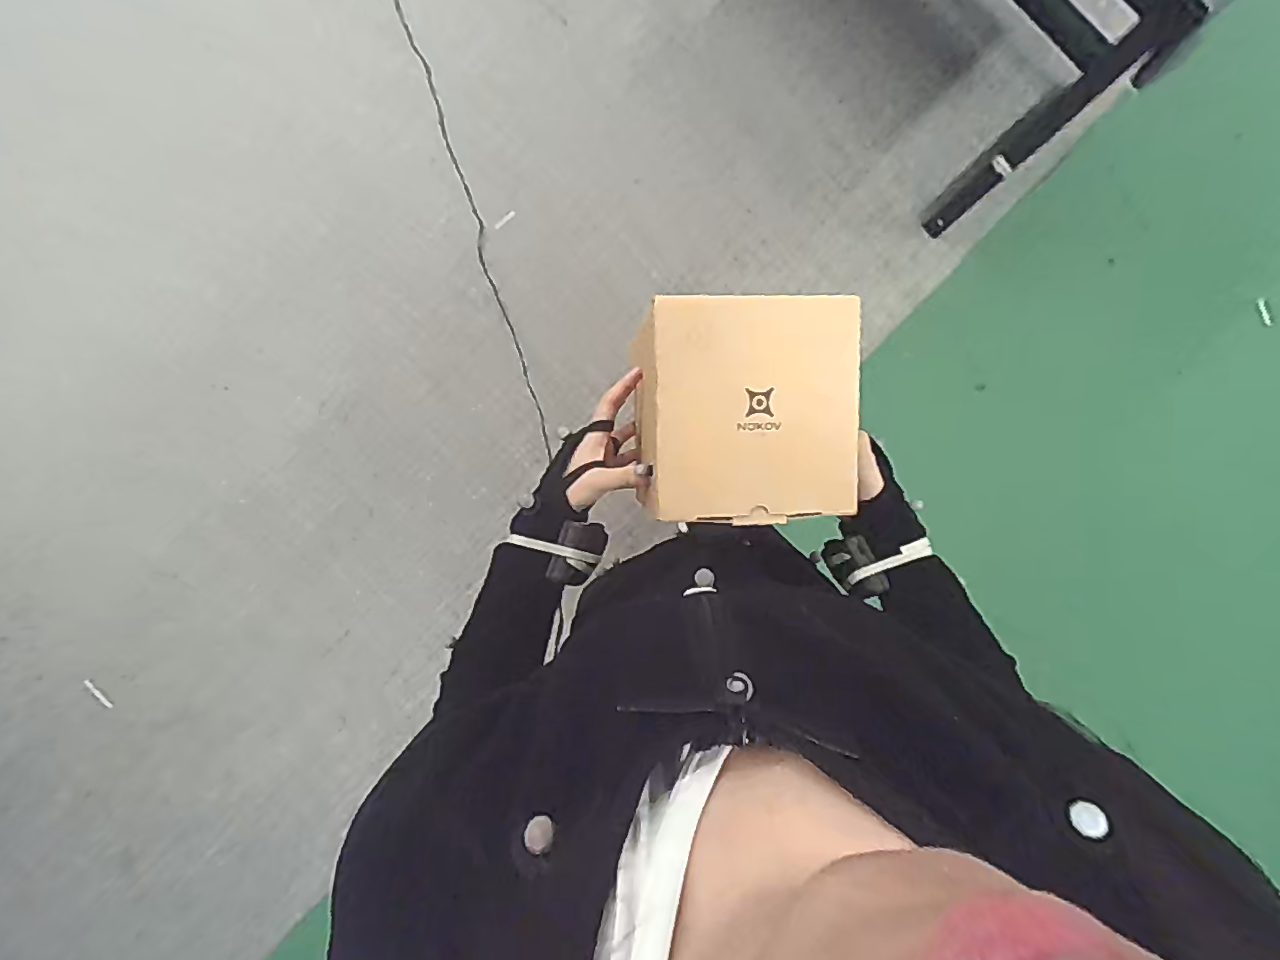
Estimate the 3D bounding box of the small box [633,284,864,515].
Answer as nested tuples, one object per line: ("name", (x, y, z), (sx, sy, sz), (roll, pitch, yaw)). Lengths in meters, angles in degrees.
("small box", (0.085, -0.067, 0.497), (0.168, 0.176, 0.179), (-2, 95, -7))
